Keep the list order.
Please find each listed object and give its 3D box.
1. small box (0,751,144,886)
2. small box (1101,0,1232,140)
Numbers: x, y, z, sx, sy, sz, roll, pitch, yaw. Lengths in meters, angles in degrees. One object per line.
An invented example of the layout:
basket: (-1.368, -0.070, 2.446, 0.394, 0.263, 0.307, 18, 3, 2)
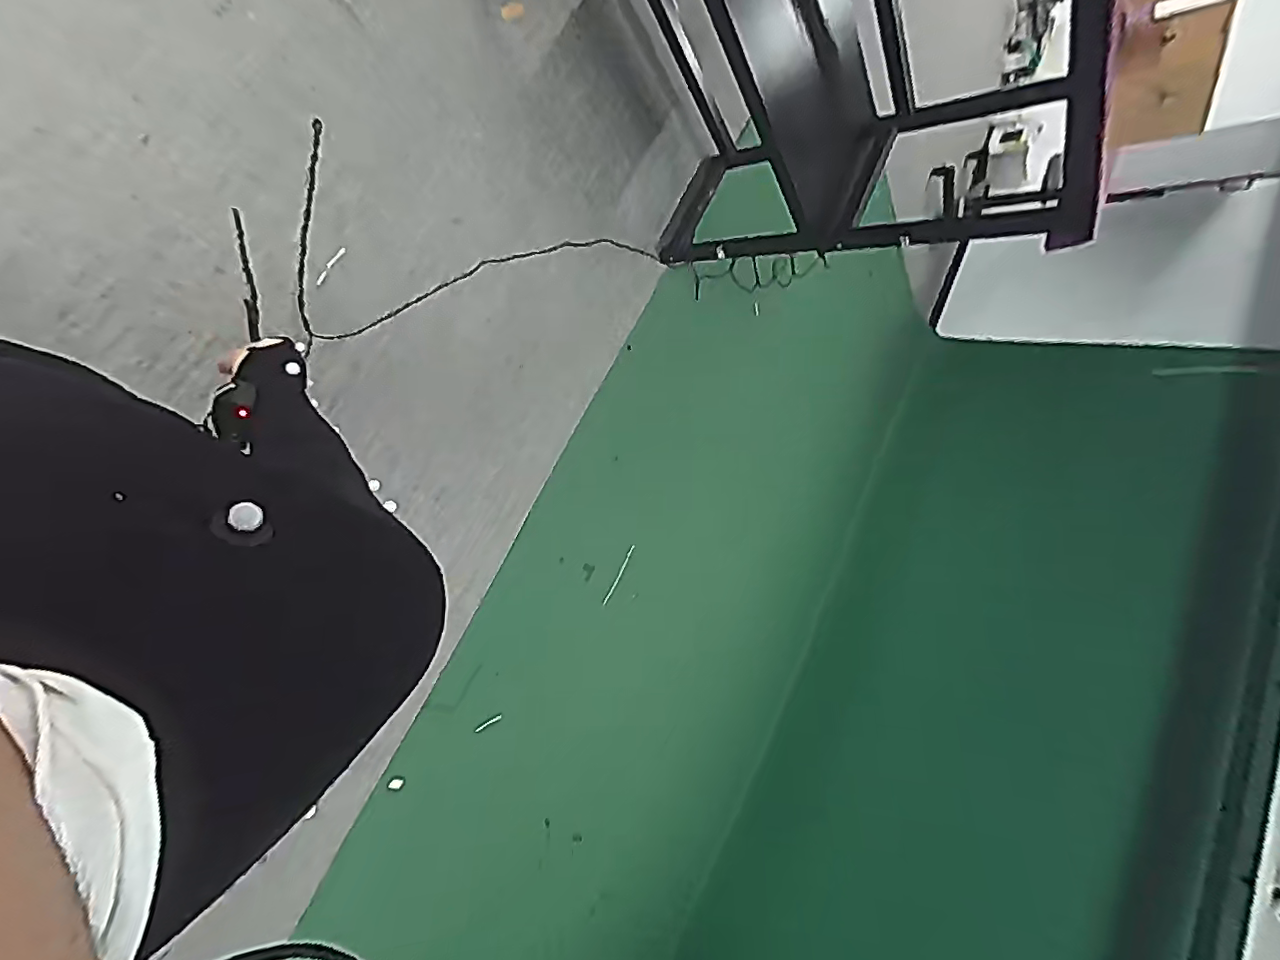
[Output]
small box: (-1.153, 0.664, 1.074, 0.179, 0.176, 0.168, 44, 70, -47)
small box: (1.111, -0.870, 1.153, 0.179, 0.176, 0.168, 38, 74, -46)
